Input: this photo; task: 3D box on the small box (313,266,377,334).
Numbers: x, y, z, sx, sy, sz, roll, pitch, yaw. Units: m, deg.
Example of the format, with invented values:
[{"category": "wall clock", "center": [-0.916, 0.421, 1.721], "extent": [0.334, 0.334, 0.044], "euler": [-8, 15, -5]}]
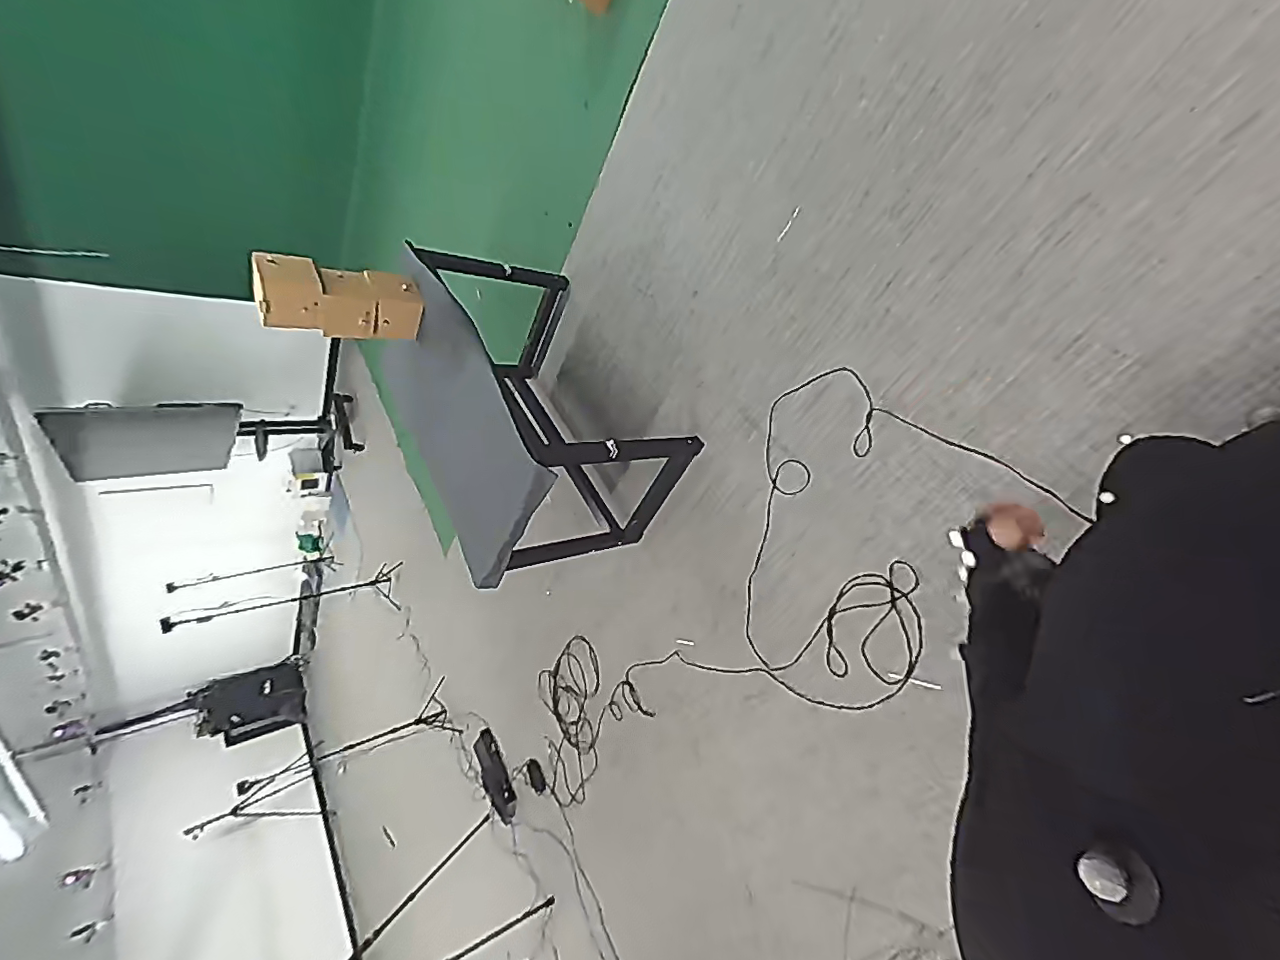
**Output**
[{"category": "small box", "center": [-1.045, -0.625, 1.896], "extent": [0.179, 0.176, 0.168], "euler": [52, 133, 28]}]

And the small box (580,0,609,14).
[{"category": "small box", "center": [-0.205, -2.005, 2.129], "extent": [0.168, 0.176, 0.179], "euler": [58, 133, 25]}]

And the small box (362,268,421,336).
[{"category": "small box", "center": [-0.928, -0.652, 2.006], "extent": [0.168, 0.176, 0.179], "euler": [59, 134, 24]}]

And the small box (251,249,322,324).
[{"category": "small box", "center": [-1.167, -0.630, 1.783], "extent": [0.179, 0.176, 0.168], "euler": [57, 135, 26]}]
